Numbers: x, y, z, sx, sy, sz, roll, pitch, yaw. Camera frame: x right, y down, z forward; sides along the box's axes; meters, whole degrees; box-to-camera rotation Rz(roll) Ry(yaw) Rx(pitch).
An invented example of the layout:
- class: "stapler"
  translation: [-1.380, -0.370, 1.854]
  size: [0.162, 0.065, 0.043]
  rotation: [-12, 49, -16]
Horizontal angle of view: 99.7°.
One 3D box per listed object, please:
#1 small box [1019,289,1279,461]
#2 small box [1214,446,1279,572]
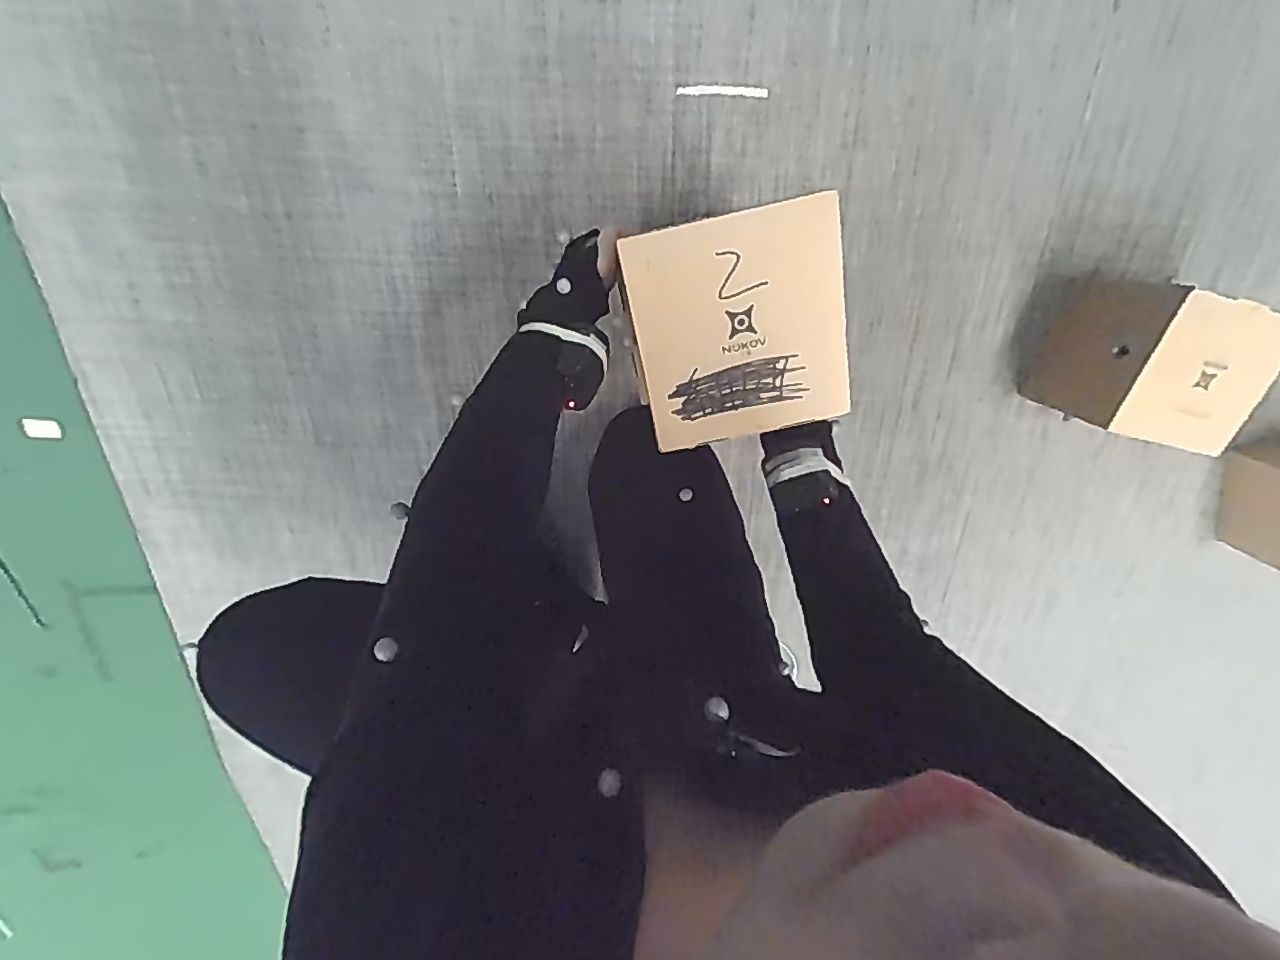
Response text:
- class: "small box"
  translation: [0.659, -0.147, 0.720]
  size: [0.168, 0.176, 0.179]
  rotation: [12, 110, -7]
- class: "small box"
  translation: [1.035, 0.046, 0.815]
  size: [0.168, 0.176, 0.179]
  rotation: [-17, 113, 5]
